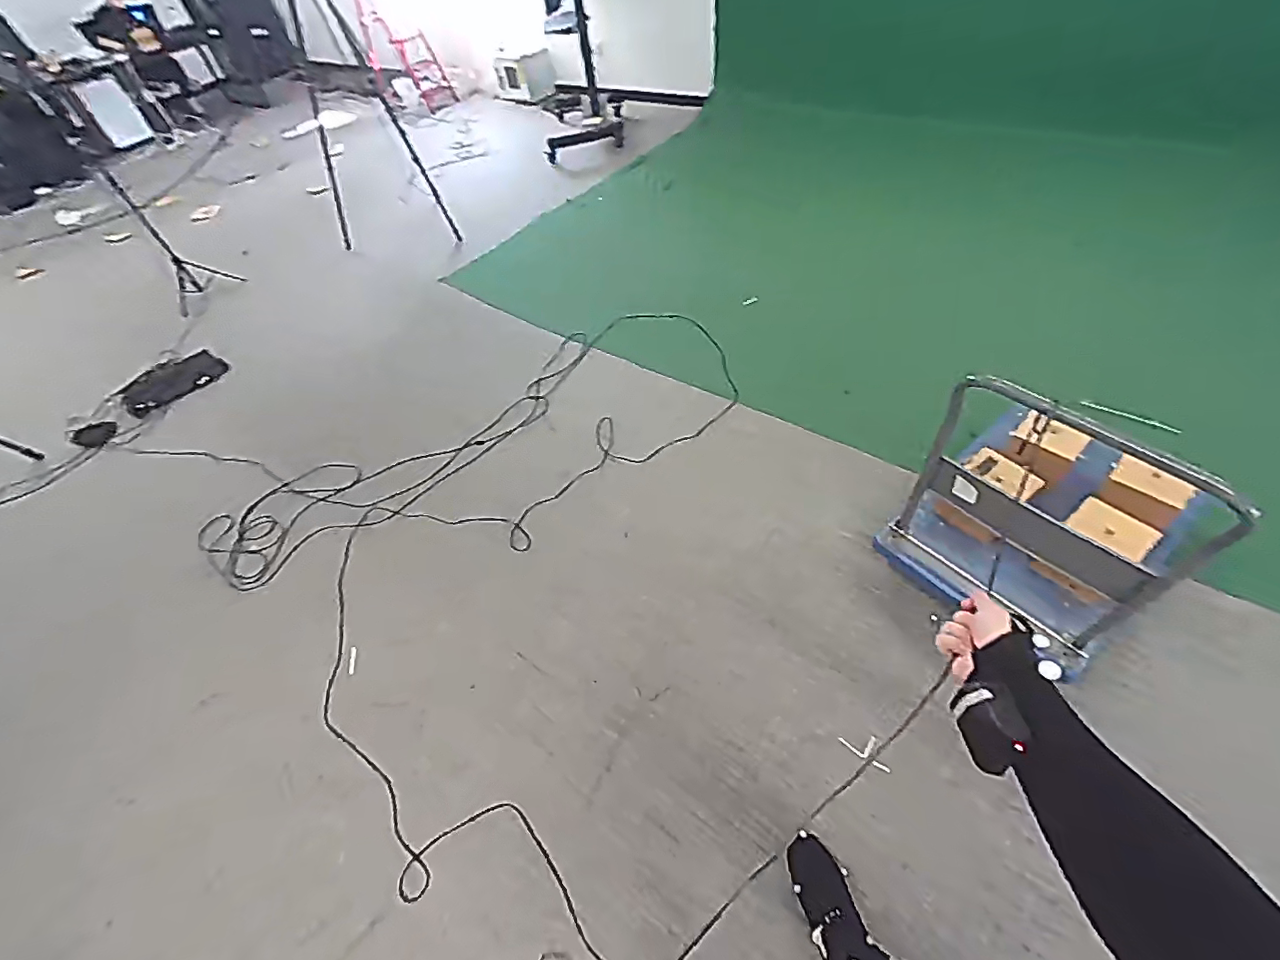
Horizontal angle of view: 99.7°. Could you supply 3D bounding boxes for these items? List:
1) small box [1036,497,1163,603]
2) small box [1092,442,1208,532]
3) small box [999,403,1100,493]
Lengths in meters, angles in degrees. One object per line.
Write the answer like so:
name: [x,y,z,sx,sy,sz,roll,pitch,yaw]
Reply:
small box: [1.189,0.185,1.416,0.179,0.176,0.168,-35,54,-18]
small box: [1.397,0.034,1.502,0.179,0.176,0.168,-39,55,-20]
small box: [1.227,-0.094,1.636,0.179,0.176,0.168,-39,56,-21]
